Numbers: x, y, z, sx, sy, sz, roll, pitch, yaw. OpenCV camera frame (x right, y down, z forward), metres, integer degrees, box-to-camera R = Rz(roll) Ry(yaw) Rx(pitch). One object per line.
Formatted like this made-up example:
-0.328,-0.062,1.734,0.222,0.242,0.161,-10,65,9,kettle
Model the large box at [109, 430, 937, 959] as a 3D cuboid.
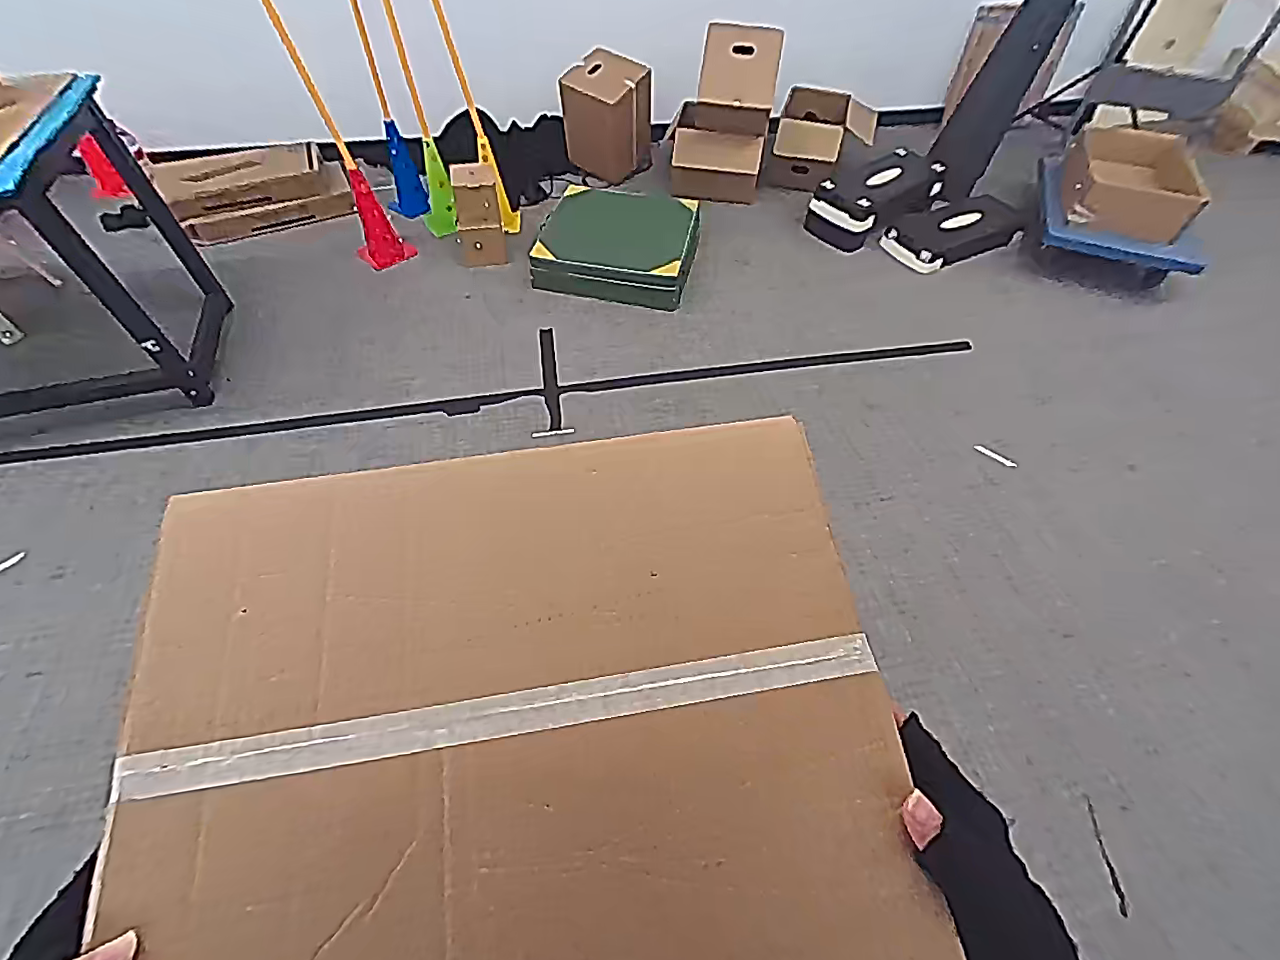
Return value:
-0.071,0.189,0.442,0.408,0.320,0.320,-8,67,-4,large box
